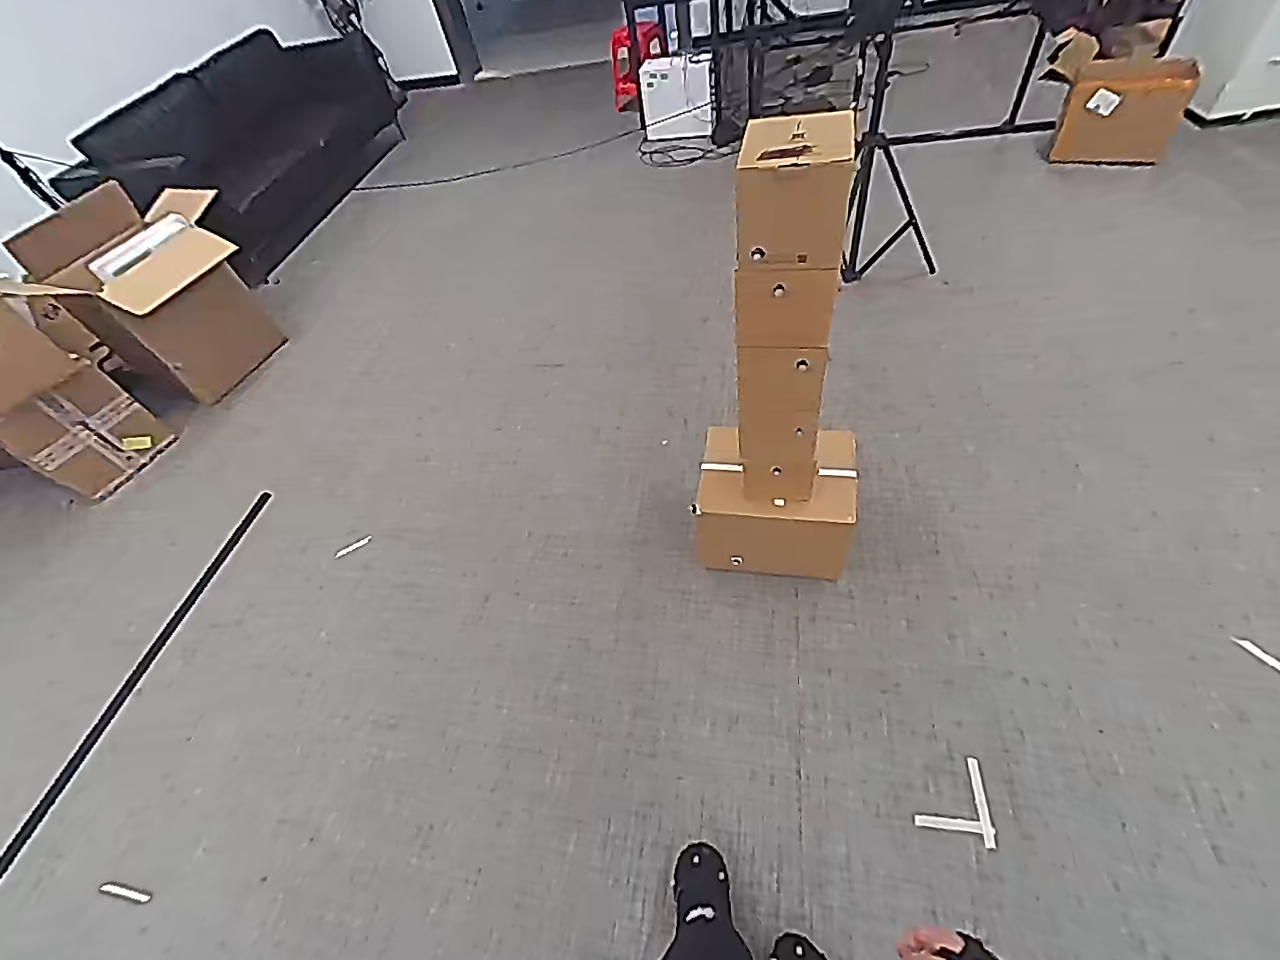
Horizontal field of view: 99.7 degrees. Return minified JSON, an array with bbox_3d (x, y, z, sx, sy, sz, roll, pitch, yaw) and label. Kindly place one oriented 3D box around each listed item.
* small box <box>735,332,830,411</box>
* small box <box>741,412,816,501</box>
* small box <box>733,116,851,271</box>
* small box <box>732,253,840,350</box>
[{"bbox_3d":[0.298,-0.260,1.138,0.179,0.176,0.168,5,54,15],"label":"small box"},{"bbox_3d":[0.353,-0.058,1.392,0.179,0.176,0.168,2,54,12],"label":"small box"},{"bbox_3d":[0.249,-0.460,0.885,0.168,0.176,0.179,5,54,15],"label":"small box"},{"bbox_3d":[0.272,-0.360,1.013,0.179,0.176,0.168,5,54,16],"label":"small box"}]
